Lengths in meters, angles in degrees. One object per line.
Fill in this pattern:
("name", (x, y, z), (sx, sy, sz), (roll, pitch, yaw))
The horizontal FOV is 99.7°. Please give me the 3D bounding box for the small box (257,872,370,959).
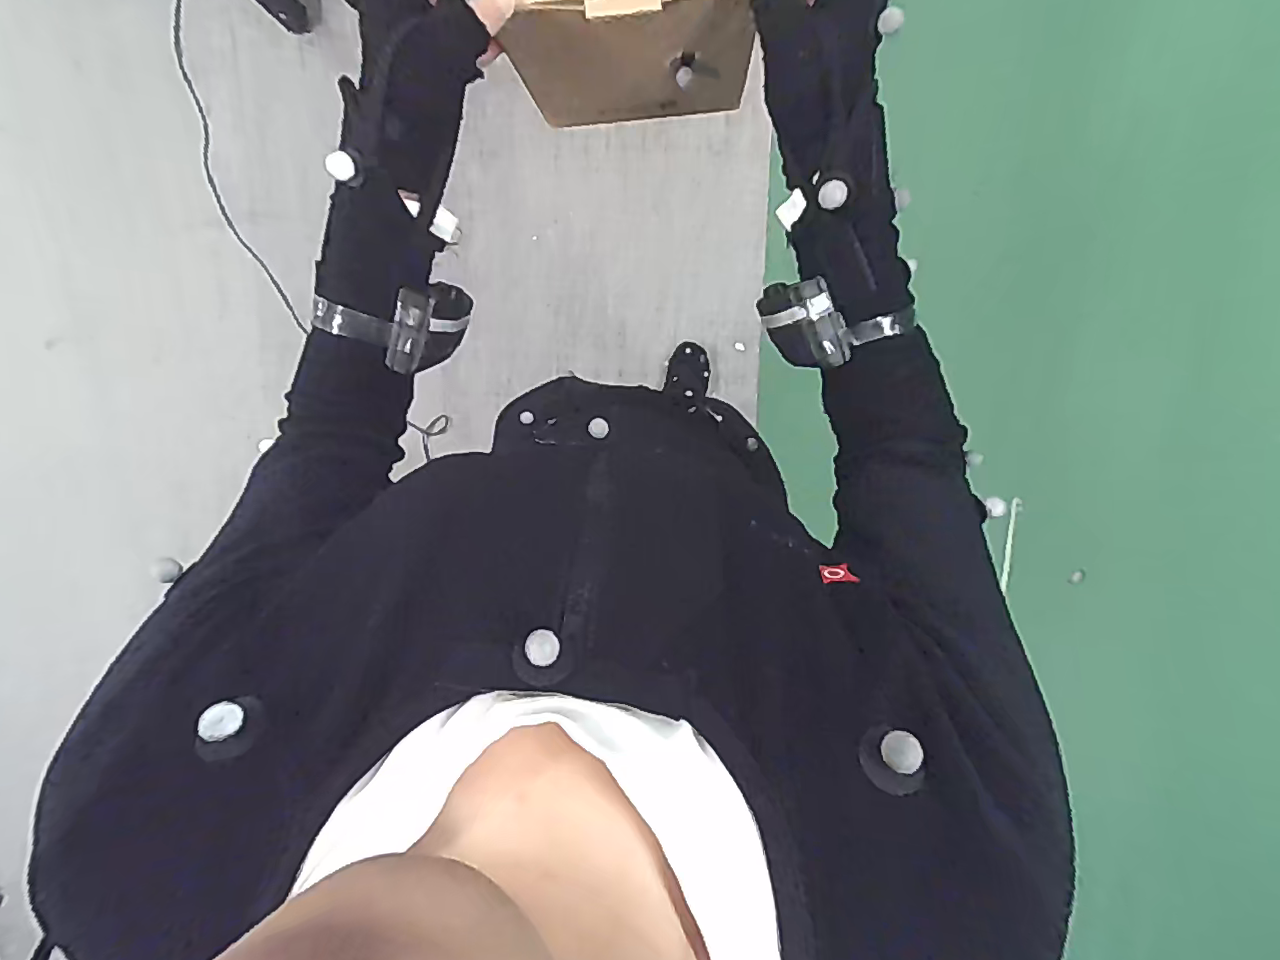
("small box", (-0.773, 1.085, 1.293), (0.179, 0.176, 0.168), (8, 99, 3))
